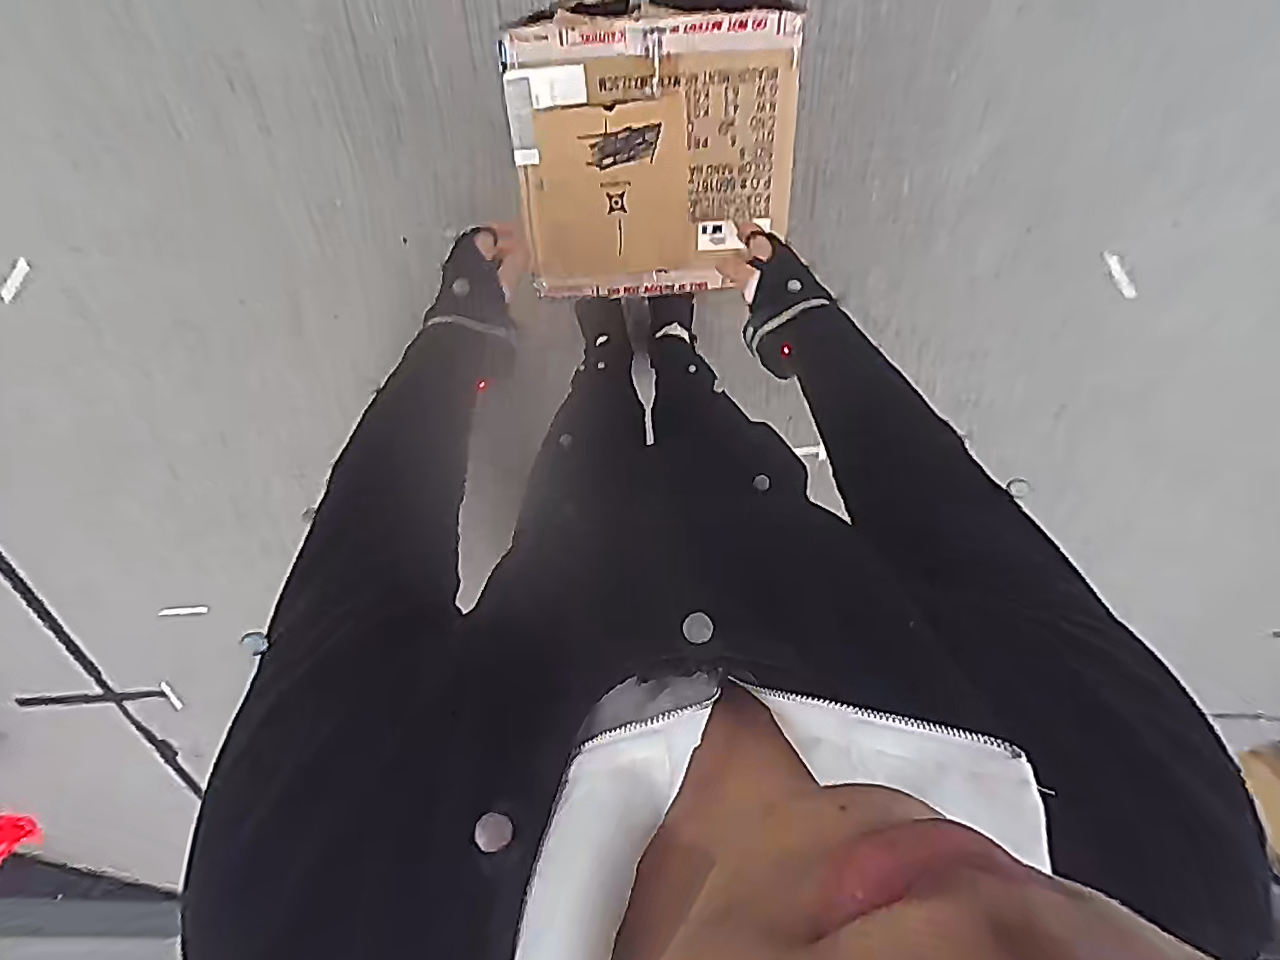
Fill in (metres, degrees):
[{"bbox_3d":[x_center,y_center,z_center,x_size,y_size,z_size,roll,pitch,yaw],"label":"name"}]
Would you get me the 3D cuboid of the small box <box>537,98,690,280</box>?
[{"bbox_3d":[-0.029,-0.367,0.682,0.168,0.176,0.179,-5,124,0],"label":"small box"}]
